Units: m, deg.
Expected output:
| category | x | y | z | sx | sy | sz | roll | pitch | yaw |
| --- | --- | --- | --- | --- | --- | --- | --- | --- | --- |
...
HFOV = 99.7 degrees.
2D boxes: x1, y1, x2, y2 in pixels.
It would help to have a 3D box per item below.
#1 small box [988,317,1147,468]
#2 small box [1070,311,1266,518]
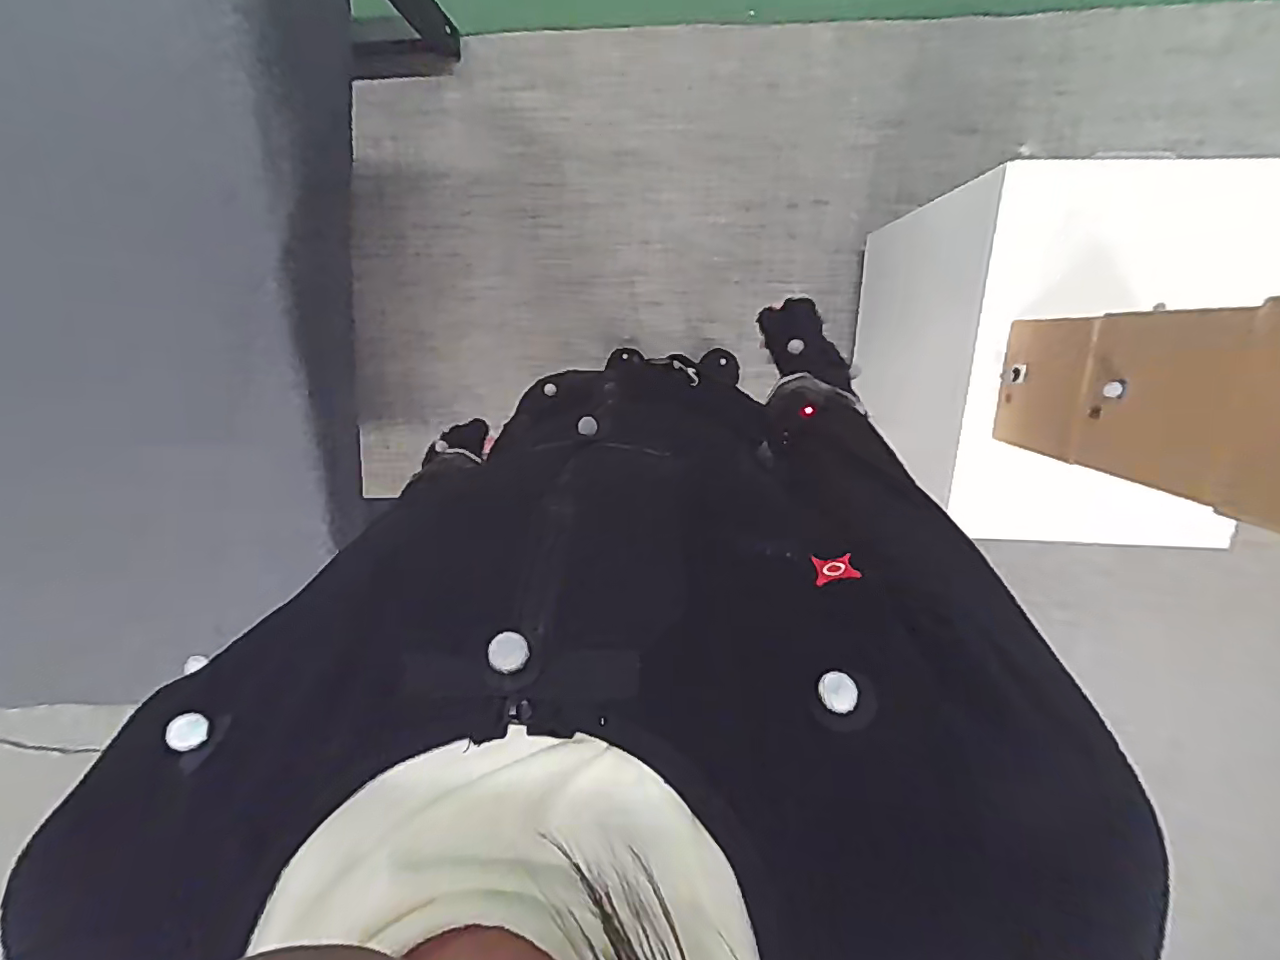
| category | x | y | z | sx | sy | sz | roll | pitch | yaw |
| --- | --- | --- | --- | --- | --- | --- | --- | --- | --- |
| small box | 0.570 | -0.112 | 0.660 | 0.179 | 0.176 | 0.168 | 0 | 104 | 6 |
| small box | 0.560 | -0.070 | 0.502 | 0.179 | 0.176 | 0.168 | -2 | 105 | 4 |
